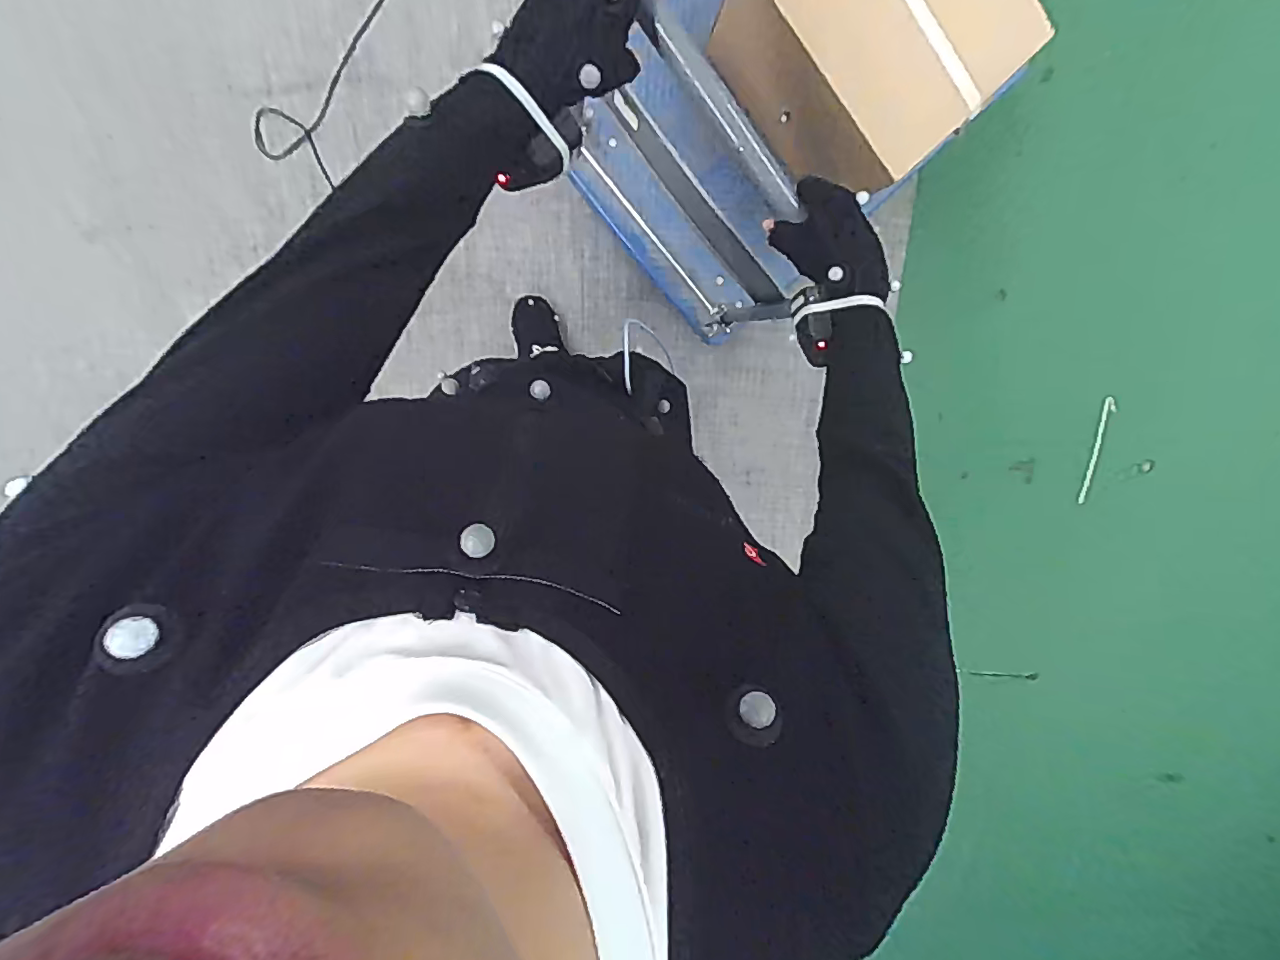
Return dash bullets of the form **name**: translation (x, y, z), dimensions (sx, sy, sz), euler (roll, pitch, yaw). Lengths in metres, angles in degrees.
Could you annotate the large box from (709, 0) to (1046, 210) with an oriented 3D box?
- **large box**: translation (0.386, -0.773, 0.964), dimensions (0.320, 0.320, 0.408), euler (-42, 105, 8)
